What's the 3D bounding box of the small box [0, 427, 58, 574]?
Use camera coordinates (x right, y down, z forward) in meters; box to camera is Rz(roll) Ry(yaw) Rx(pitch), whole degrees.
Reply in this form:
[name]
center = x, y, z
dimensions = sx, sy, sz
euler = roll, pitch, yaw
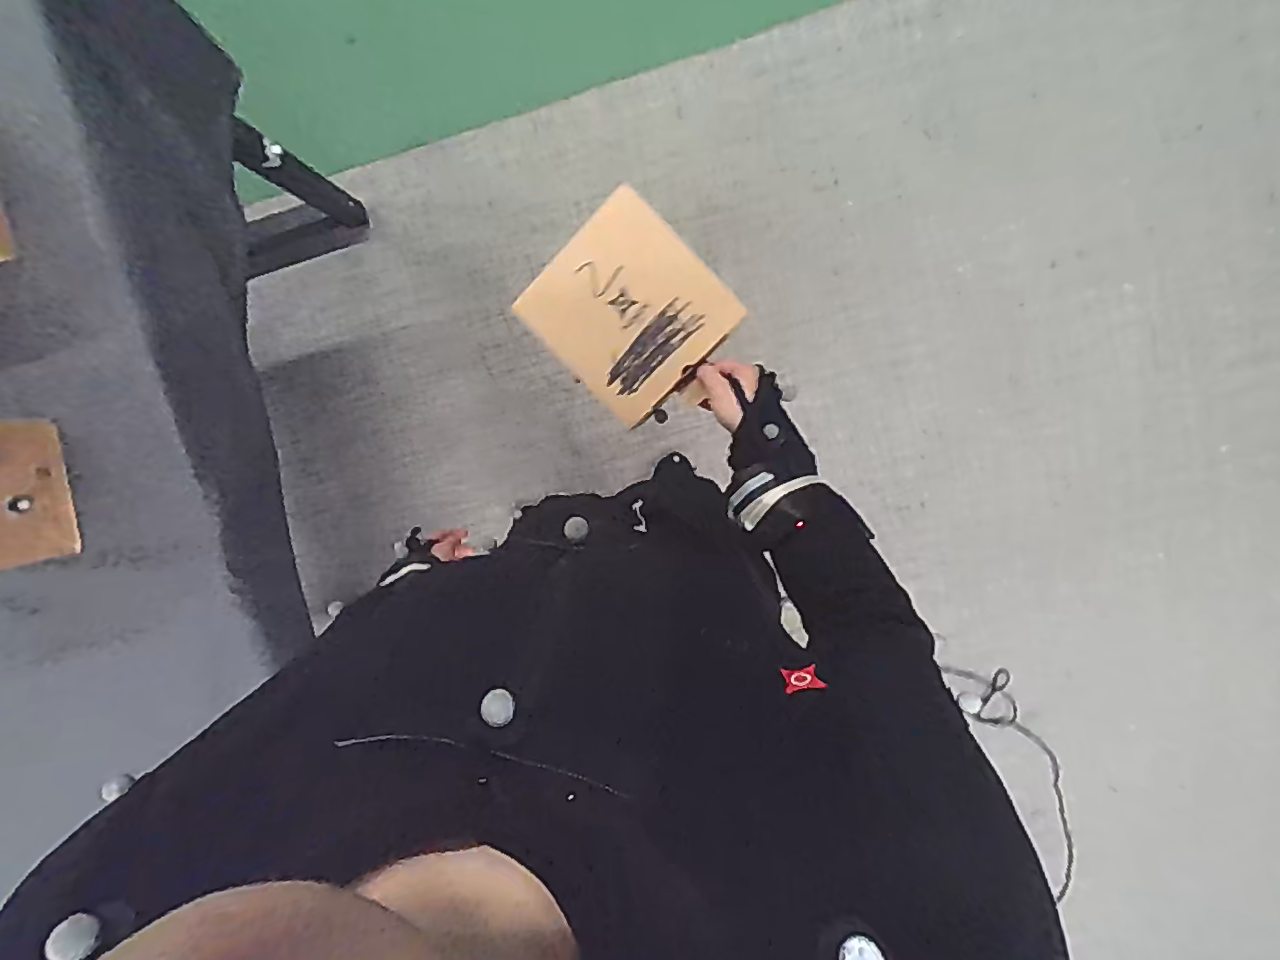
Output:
[small box]
center = -0.791, 0.033, 0.567
dimensions = 0.179, 0.176, 0.168
euler = -6, 95, 3
